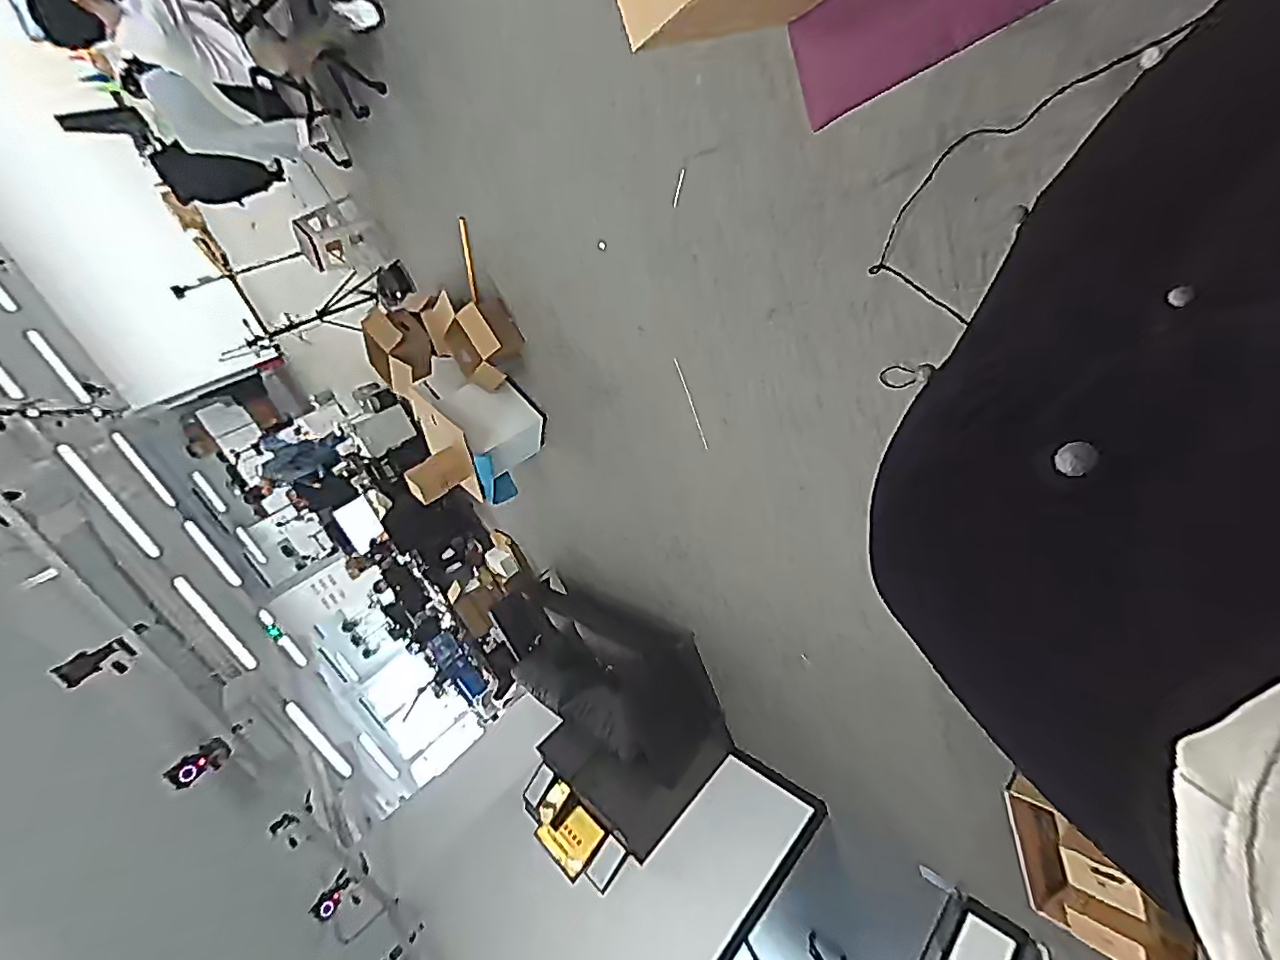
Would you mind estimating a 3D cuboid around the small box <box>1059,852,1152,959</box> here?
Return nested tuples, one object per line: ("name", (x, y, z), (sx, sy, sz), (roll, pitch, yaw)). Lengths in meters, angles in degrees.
("small box", (1.380, 1.258, 1.598), (0.179, 0.176, 0.168), (1, 123, 54))
